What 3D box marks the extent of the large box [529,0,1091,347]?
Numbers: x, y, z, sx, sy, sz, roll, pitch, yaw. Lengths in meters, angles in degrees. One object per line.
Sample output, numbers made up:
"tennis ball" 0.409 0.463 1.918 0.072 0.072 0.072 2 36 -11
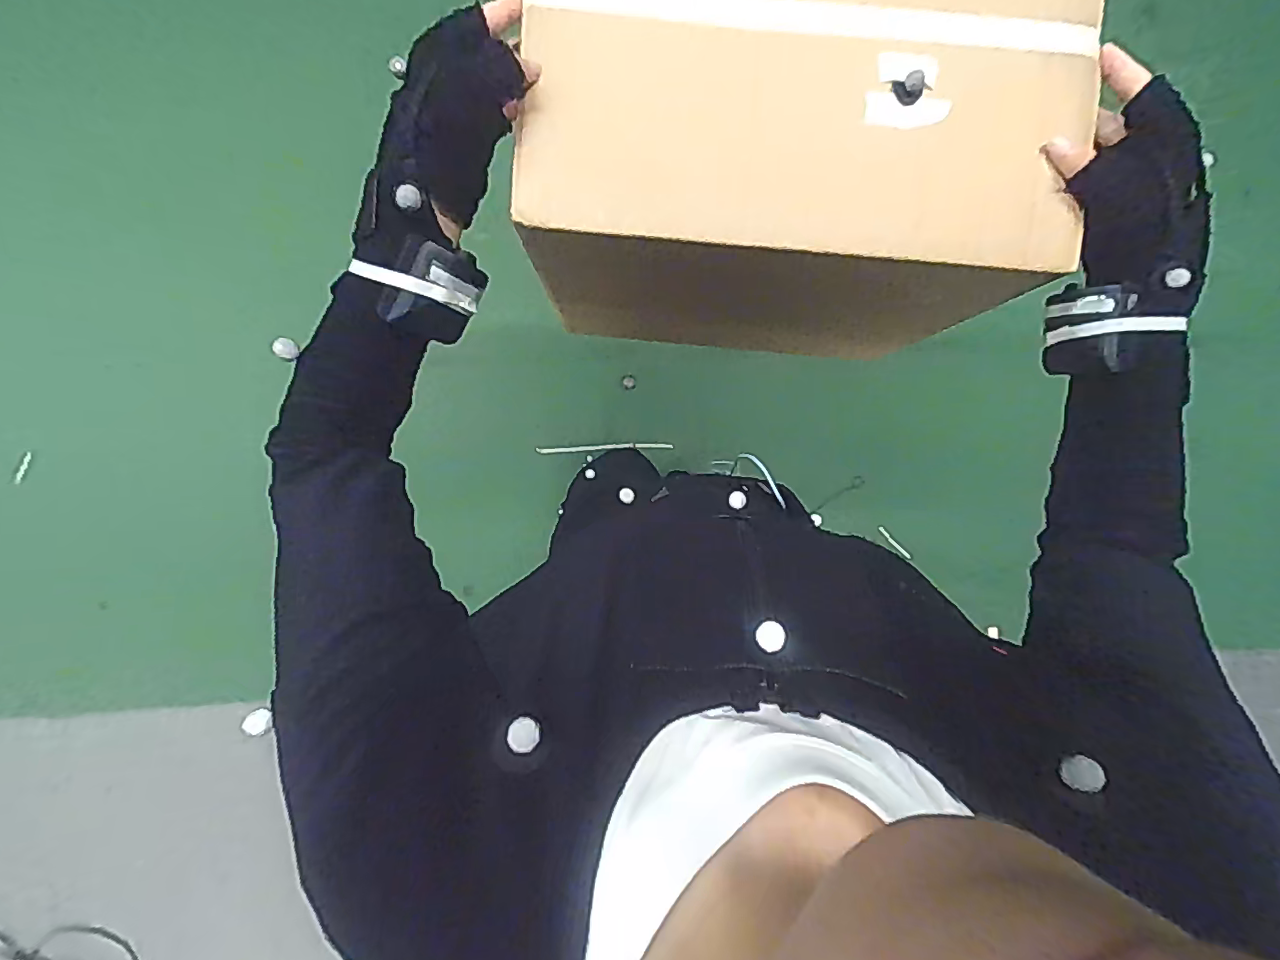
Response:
"large box" 0.120 -0.331 0.538 0.408 0.320 0.320 4 92 -2
